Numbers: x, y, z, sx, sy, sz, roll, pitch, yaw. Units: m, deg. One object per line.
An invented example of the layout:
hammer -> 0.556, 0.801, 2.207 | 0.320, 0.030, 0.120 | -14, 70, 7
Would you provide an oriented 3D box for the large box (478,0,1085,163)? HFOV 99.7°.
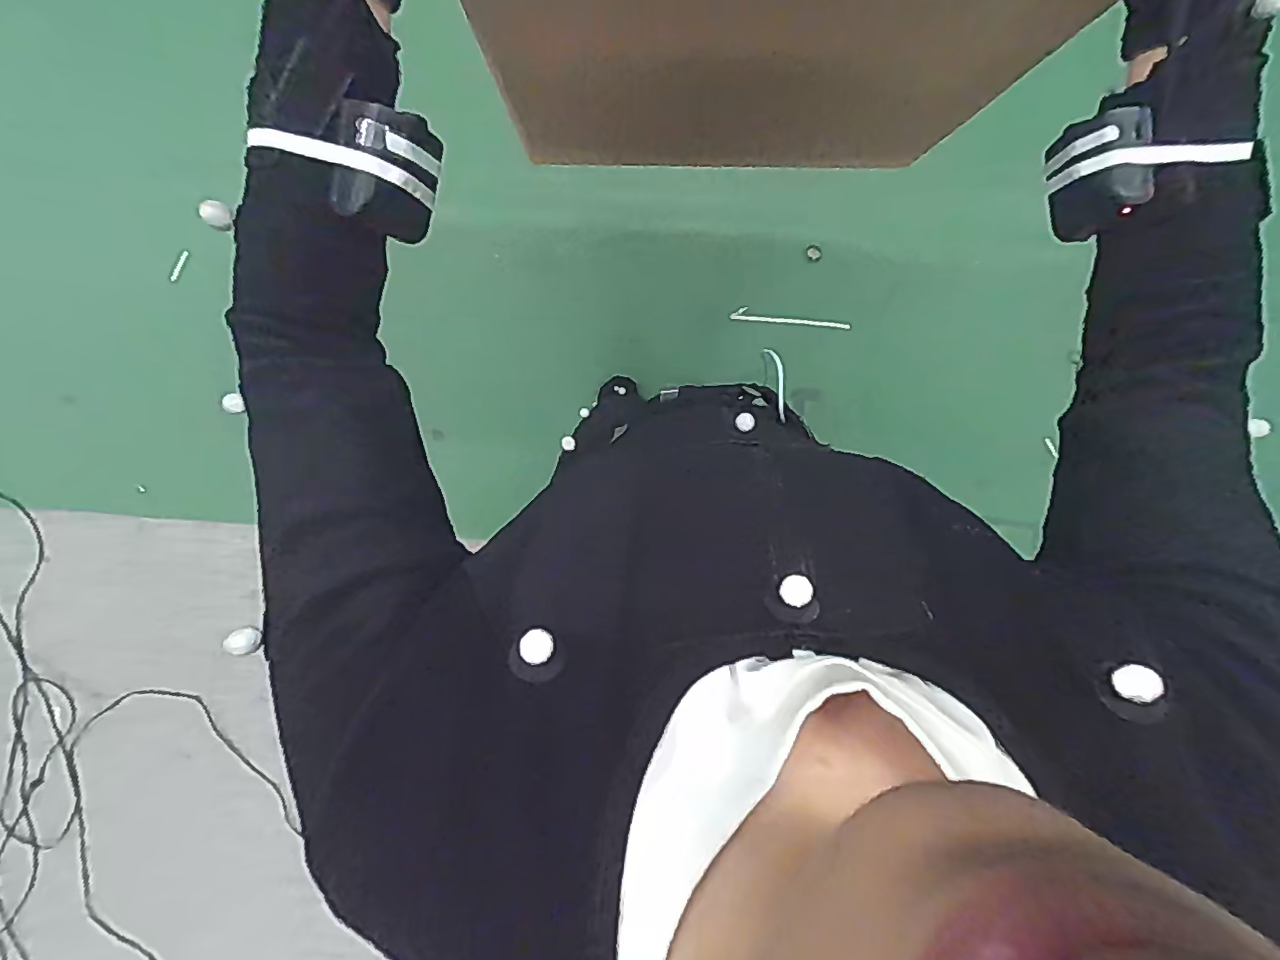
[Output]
large box -> 0.086, -0.464, 0.401 | 0.408, 0.320, 0.320 | -1, 100, -3
